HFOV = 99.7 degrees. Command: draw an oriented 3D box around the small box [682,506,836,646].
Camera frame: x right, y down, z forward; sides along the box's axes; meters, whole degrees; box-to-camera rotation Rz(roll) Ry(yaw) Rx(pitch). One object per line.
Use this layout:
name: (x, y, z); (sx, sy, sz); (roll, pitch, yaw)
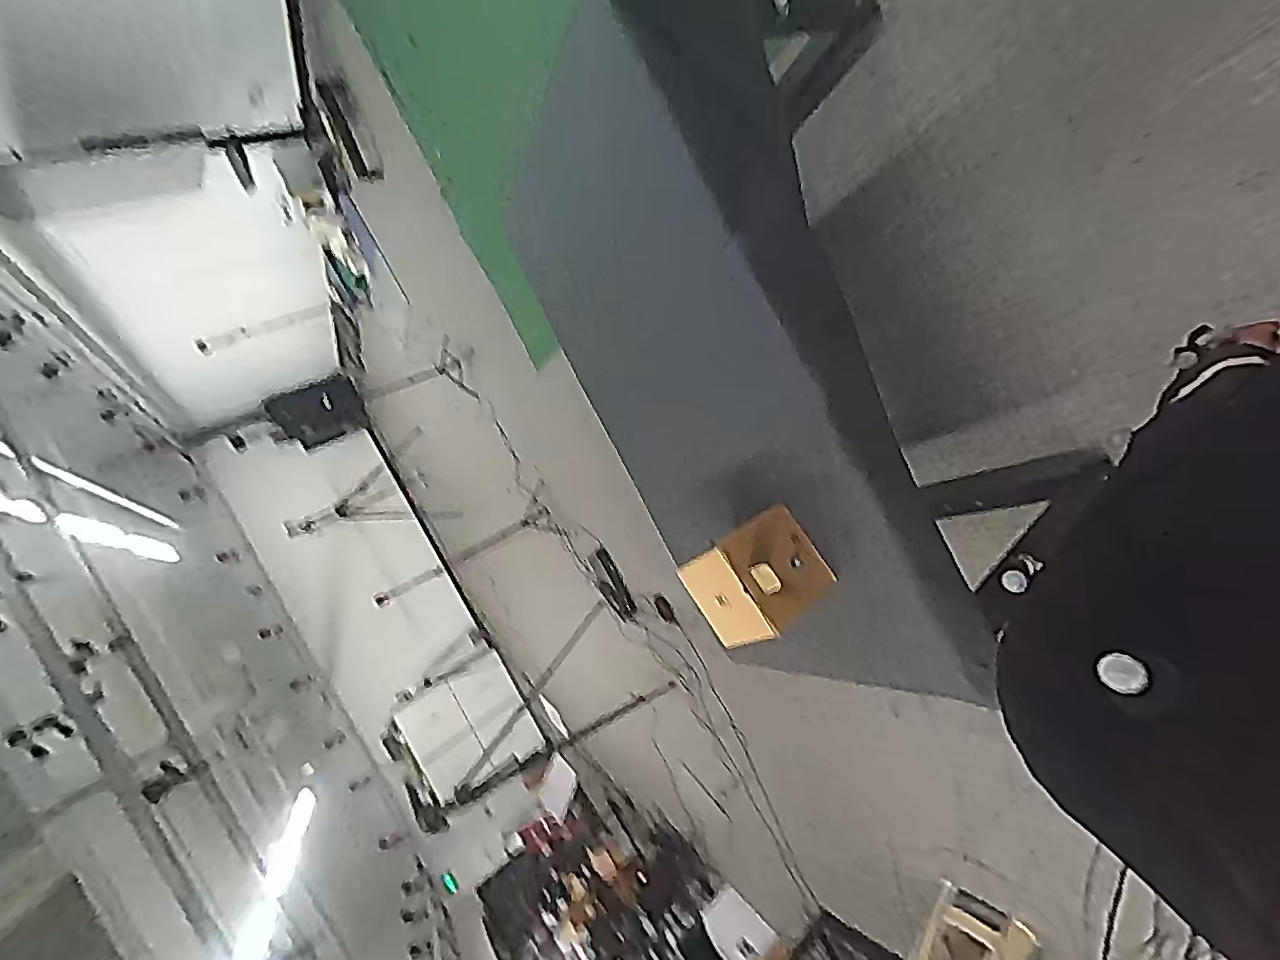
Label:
small box: (0.211, 0.173, 0.971); (0.168, 0.176, 0.179); (56, 151, 9)
